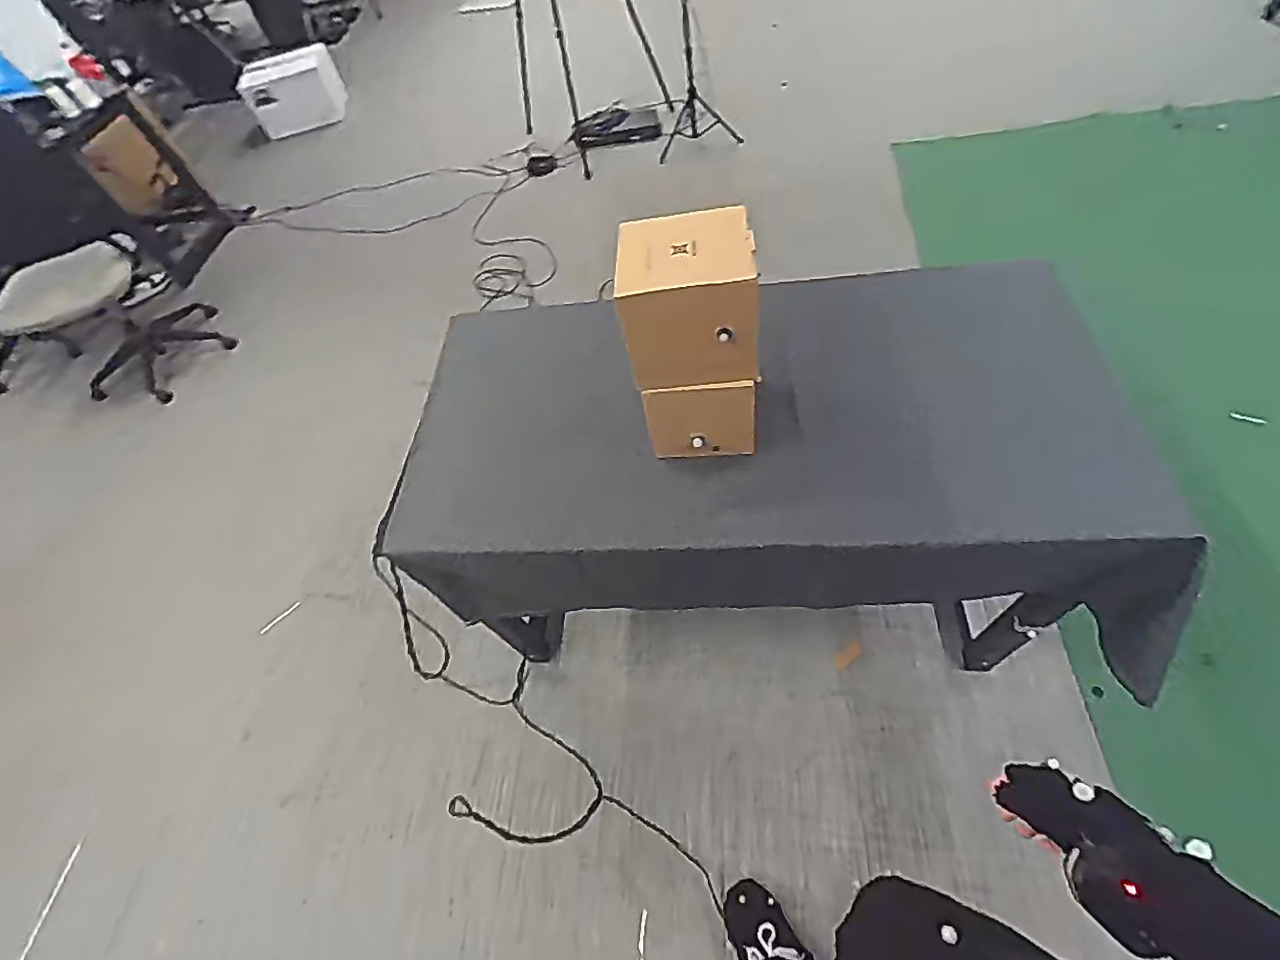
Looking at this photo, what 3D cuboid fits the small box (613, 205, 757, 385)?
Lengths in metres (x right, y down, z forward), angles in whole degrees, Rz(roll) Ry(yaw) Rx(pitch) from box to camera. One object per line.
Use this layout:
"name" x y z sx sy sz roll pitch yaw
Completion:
"small box" 0.069 -0.253 0.760 0.179 0.176 0.168 -4 55 9

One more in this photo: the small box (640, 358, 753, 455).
"small box" 0.099 -0.159 0.890 0.168 0.176 0.179 -2 57 11
